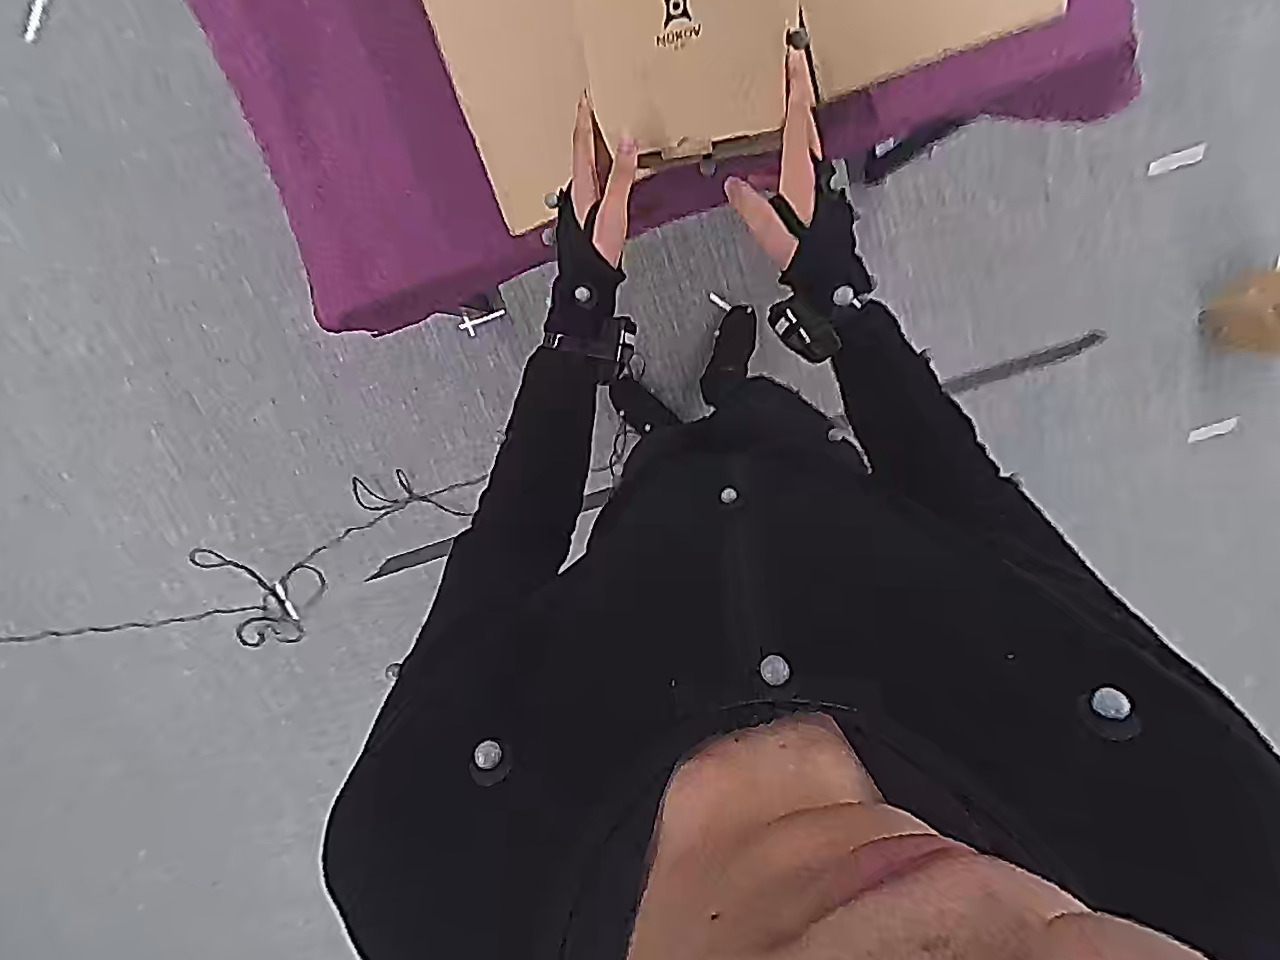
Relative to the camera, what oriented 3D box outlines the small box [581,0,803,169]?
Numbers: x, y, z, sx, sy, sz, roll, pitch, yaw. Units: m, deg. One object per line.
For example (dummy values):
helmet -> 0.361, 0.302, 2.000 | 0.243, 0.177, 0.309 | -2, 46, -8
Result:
small box -> 0.058, -0.393, 0.491 | 0.168, 0.176, 0.179 | 3, 118, 19
